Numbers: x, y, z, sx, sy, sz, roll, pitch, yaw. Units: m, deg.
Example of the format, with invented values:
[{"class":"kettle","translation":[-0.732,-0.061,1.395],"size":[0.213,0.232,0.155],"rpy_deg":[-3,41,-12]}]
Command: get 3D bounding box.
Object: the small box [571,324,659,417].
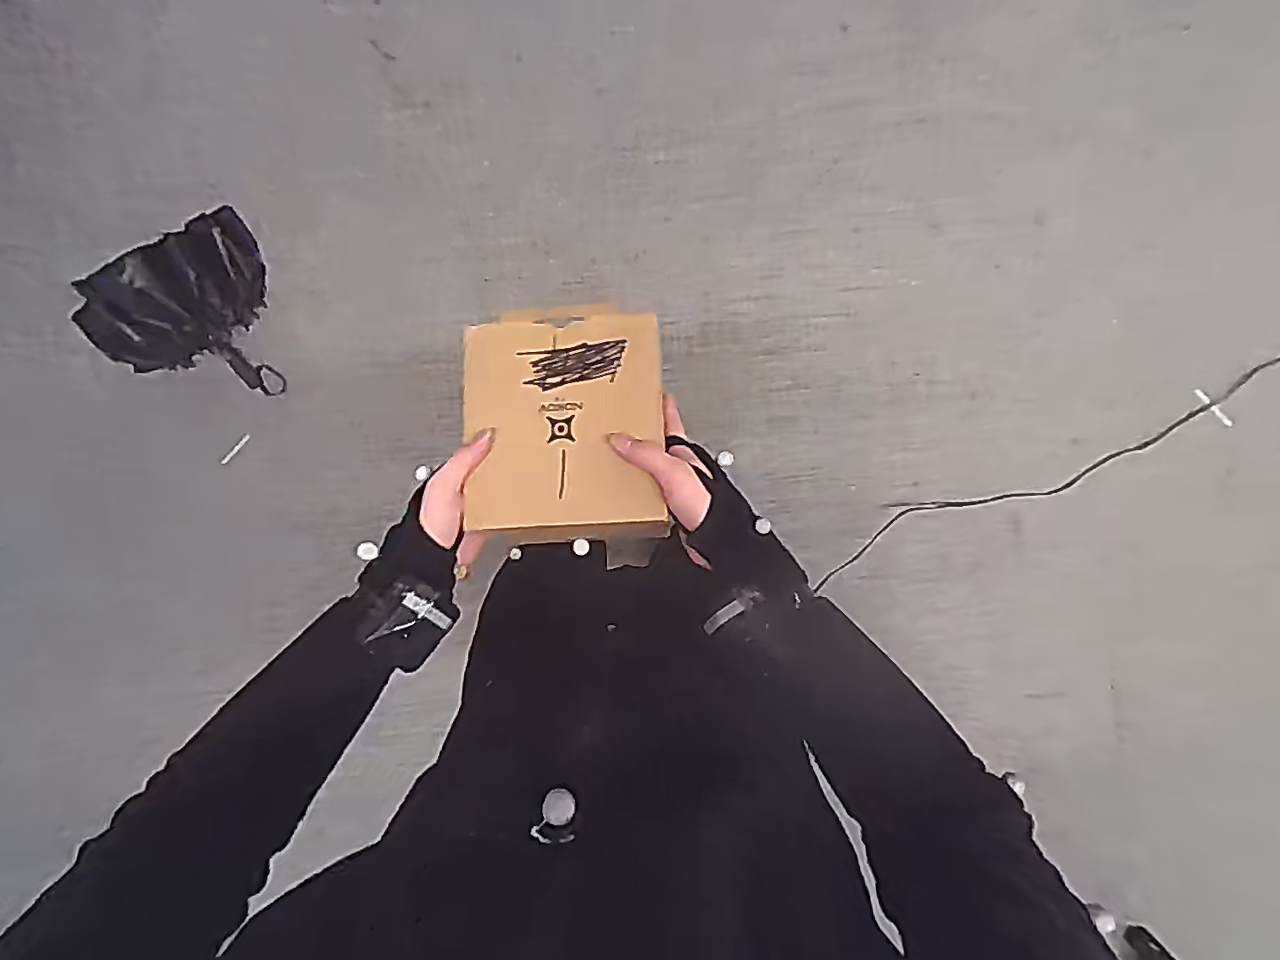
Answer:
[{"class":"small box","translation":[-0.055,-0.245,1.221],"size":[0.168,0.176,0.179],"rpy_deg":[-10,102,1]}]
